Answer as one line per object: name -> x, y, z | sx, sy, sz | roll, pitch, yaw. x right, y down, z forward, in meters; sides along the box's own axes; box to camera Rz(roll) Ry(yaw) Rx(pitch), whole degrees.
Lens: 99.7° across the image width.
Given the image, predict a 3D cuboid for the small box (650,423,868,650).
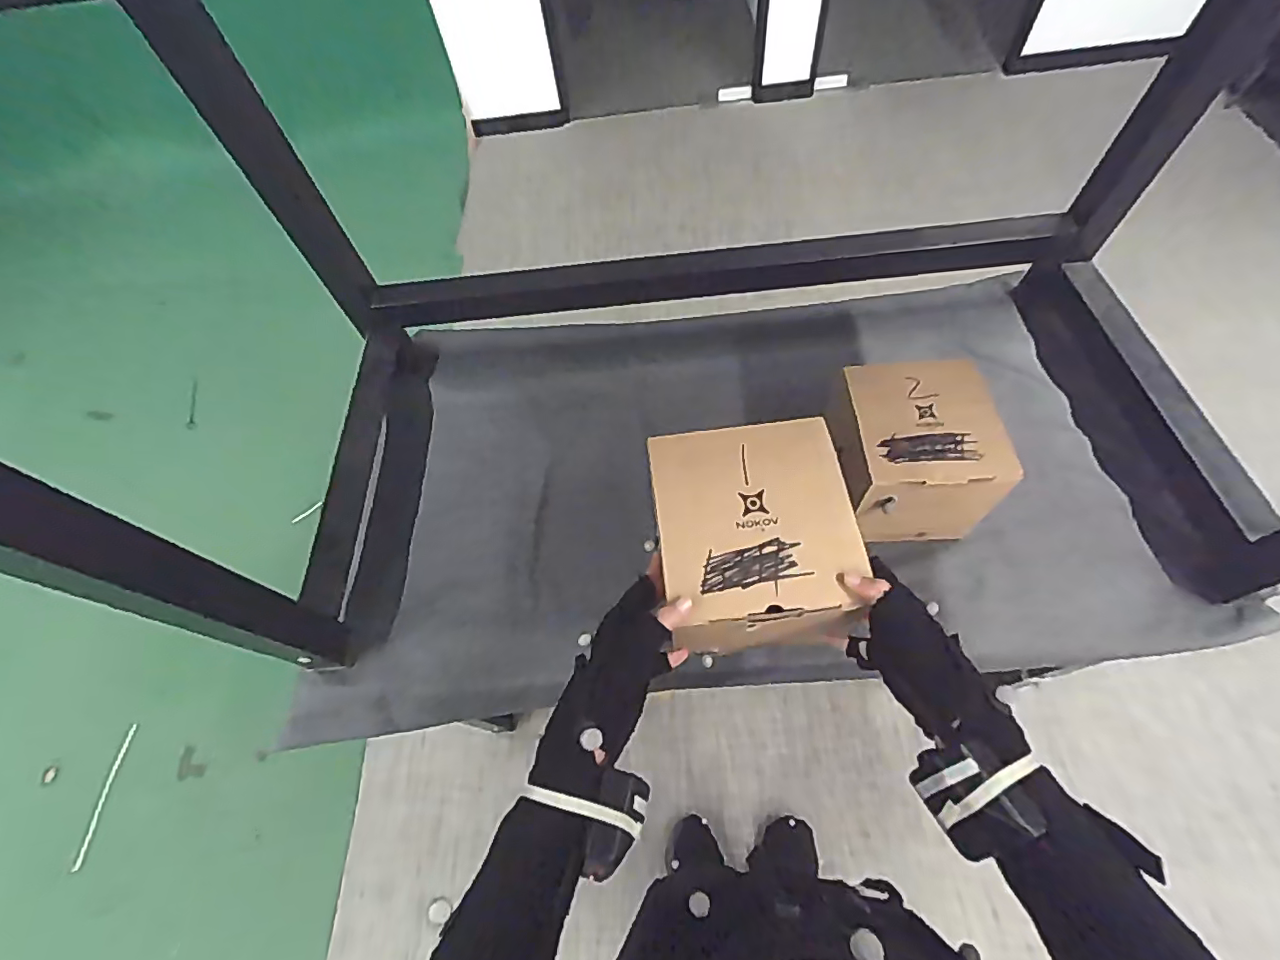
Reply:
small box -> 0.105, 0.068, 0.547 | 0.168, 0.176, 0.179 | -8, 63, 2
